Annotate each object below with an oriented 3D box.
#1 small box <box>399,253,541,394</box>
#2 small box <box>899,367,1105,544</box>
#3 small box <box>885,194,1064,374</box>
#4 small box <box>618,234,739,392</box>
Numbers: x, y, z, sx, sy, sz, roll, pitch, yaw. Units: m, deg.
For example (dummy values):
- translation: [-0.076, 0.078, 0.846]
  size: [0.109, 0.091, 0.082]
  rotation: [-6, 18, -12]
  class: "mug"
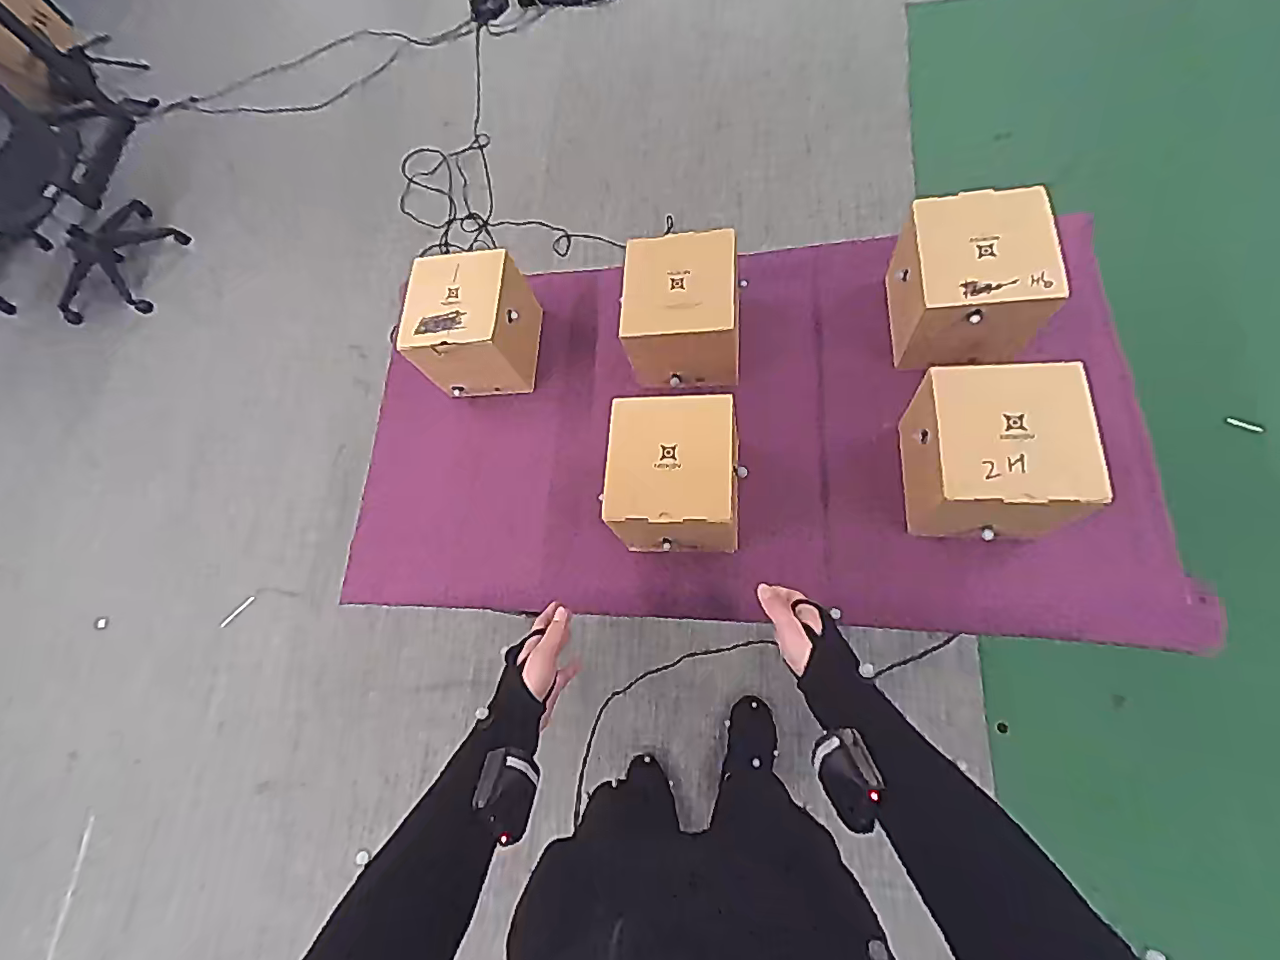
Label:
- translation: [-0.282, -0.258, 0.935]
  size: [0.168, 0.176, 0.179]
  rotation: [-1, 70, 11]
  class: "small box"
- translation: [0.443, -0.026, 0.696]
  size: [0.168, 0.176, 0.179]
  rotation: [1, 70, 13]
  class: "small box"
- translation: [0.463, -0.273, 0.781]
  size: [0.168, 0.176, 0.179]
  rotation: [-1, 71, 12]
  class: "small box"
- translation: [0.069, -0.257, 0.863]
  size: [0.168, 0.176, 0.179]
  rotation: [0, 72, 13]
  class: "small box"
